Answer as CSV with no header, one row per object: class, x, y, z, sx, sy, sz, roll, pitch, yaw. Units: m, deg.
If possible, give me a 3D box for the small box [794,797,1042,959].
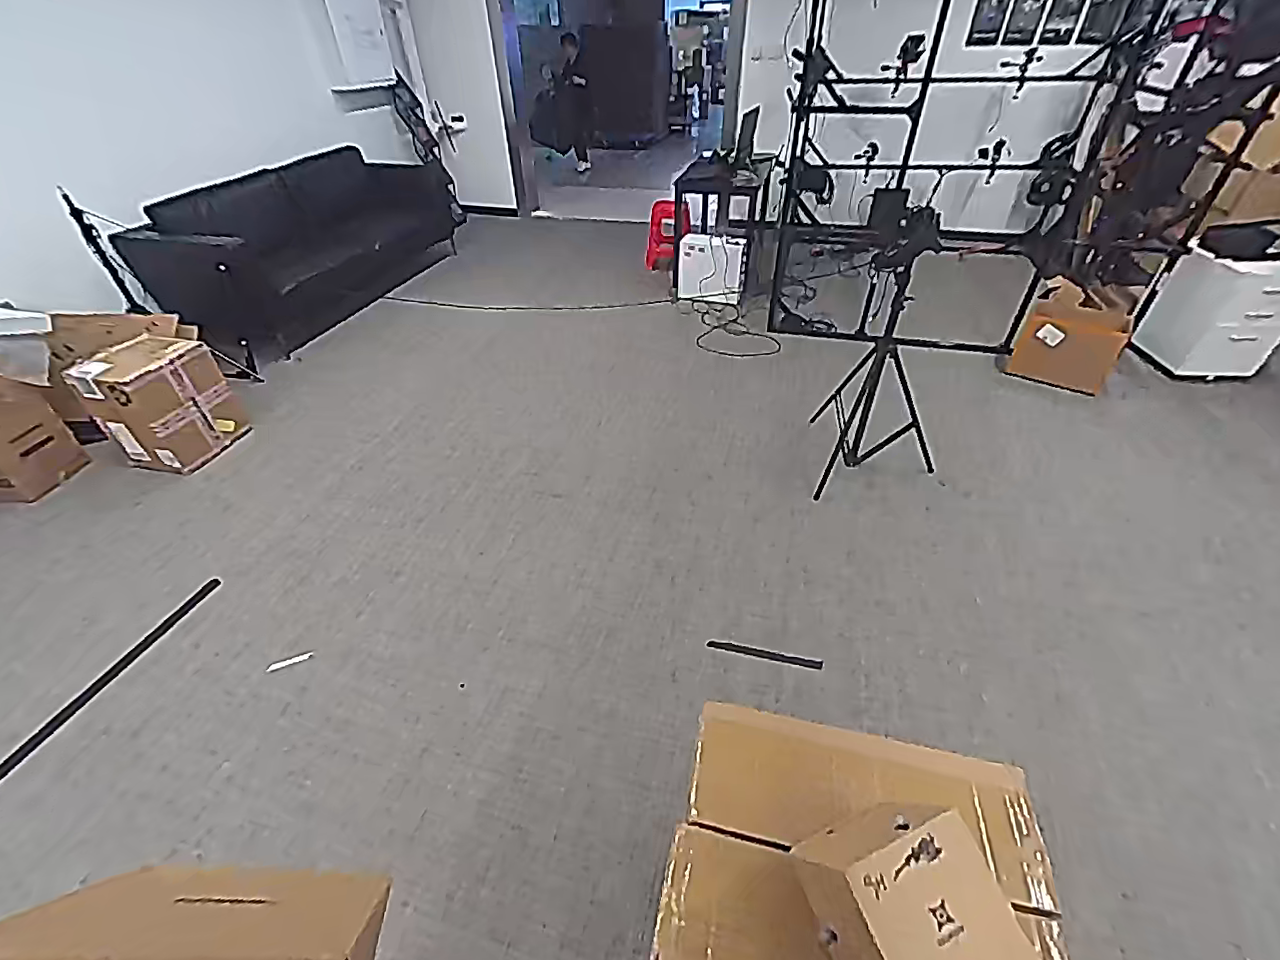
small box,0.317,0.510,0.648,0.168,0.176,0.179,-17,67,-17
